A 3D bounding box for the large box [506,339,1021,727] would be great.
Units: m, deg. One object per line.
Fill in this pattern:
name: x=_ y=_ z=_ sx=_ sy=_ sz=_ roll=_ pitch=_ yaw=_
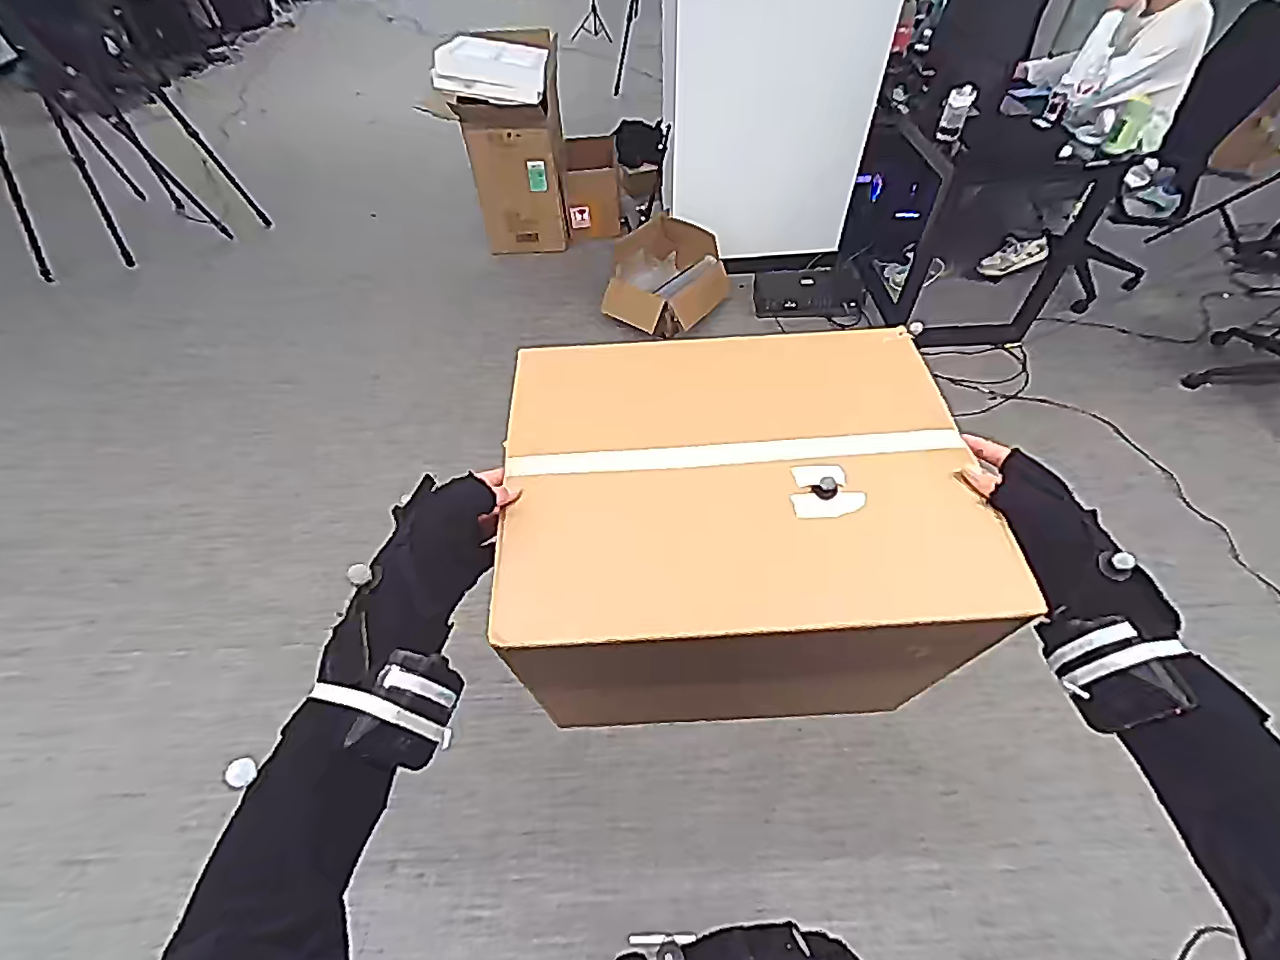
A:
large box: x=0.087 y=0.071 z=0.613 sx=0.408 sy=0.320 sz=0.320 roll=-4 pitch=56 yaw=-1
